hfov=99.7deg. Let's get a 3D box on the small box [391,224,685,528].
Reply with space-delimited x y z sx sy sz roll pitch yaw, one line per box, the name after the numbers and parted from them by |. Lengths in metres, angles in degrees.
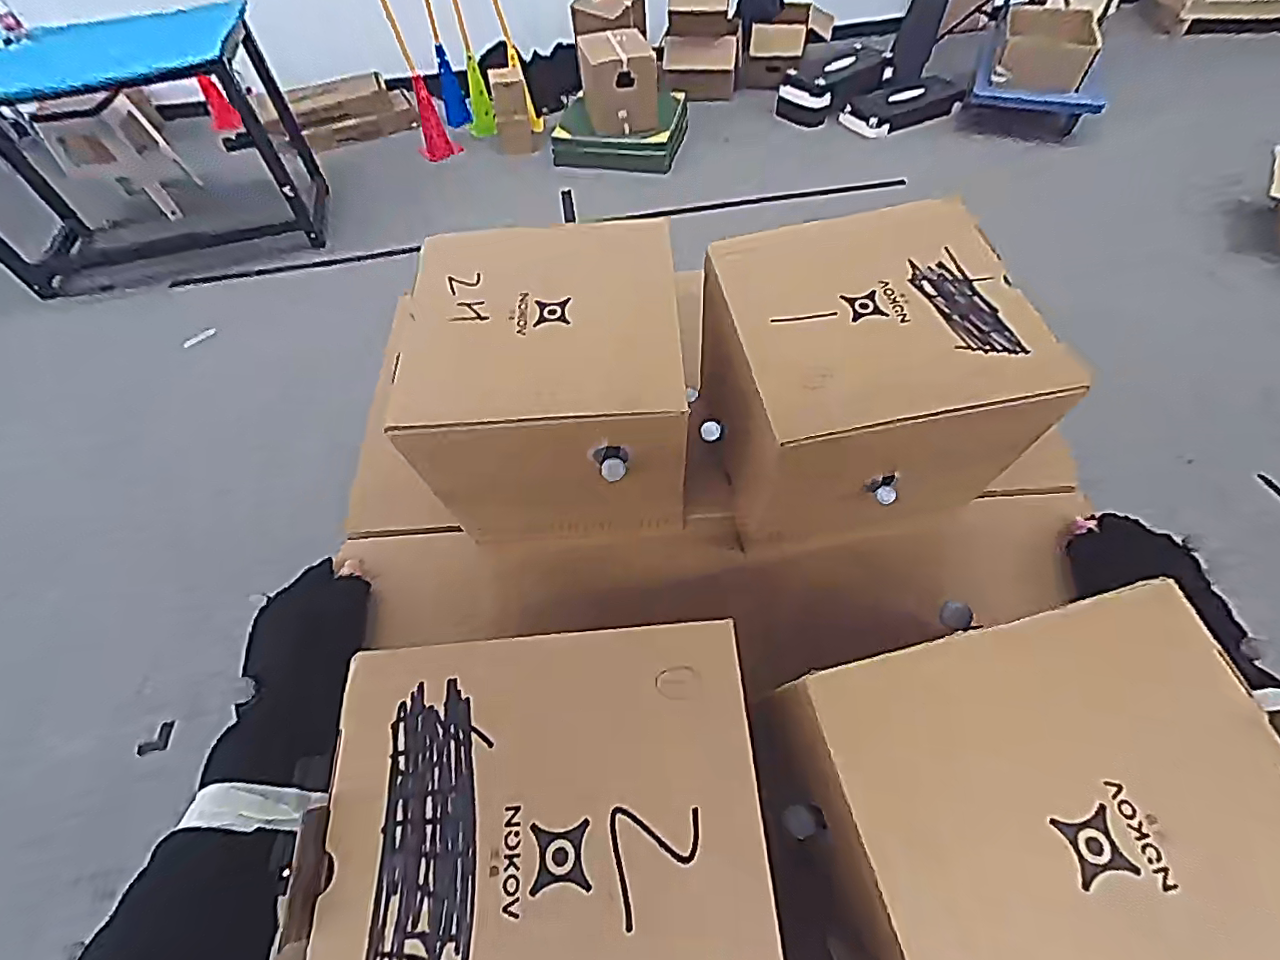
-0.059 -0.070 0.424 0.179 0.176 0.168 -3 61 3 | small box
